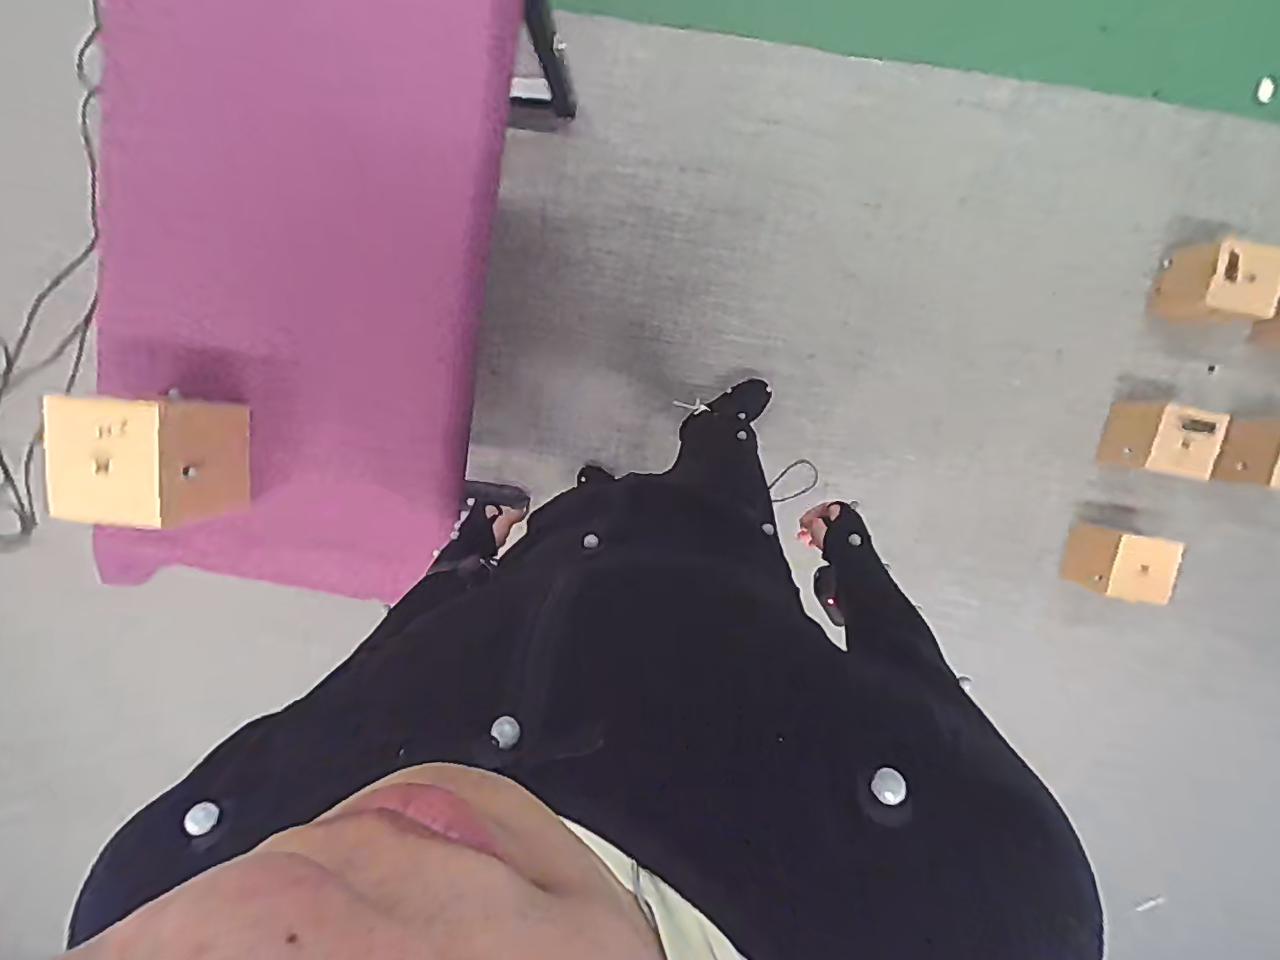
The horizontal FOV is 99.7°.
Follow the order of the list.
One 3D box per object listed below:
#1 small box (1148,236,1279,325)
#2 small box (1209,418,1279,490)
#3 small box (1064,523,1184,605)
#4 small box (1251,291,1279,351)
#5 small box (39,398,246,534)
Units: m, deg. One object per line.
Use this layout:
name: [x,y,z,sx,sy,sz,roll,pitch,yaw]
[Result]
small box: [1.489,-0.510,1.402,0.179,0.176,0.168,11,97,0]
small box: [1.702,-0.067,1.448,0.168,0.176,0.179,10,97,0]
small box: [1.330,0.225,1.499,0.168,0.176,0.179,8,98,1]
small box: [1.769,-0.435,1.401,0.168,0.176,0.179,13,96,1]
small box: [-0.740,-0.028,0.823,0.168,0.176,0.179,5,97,1]
